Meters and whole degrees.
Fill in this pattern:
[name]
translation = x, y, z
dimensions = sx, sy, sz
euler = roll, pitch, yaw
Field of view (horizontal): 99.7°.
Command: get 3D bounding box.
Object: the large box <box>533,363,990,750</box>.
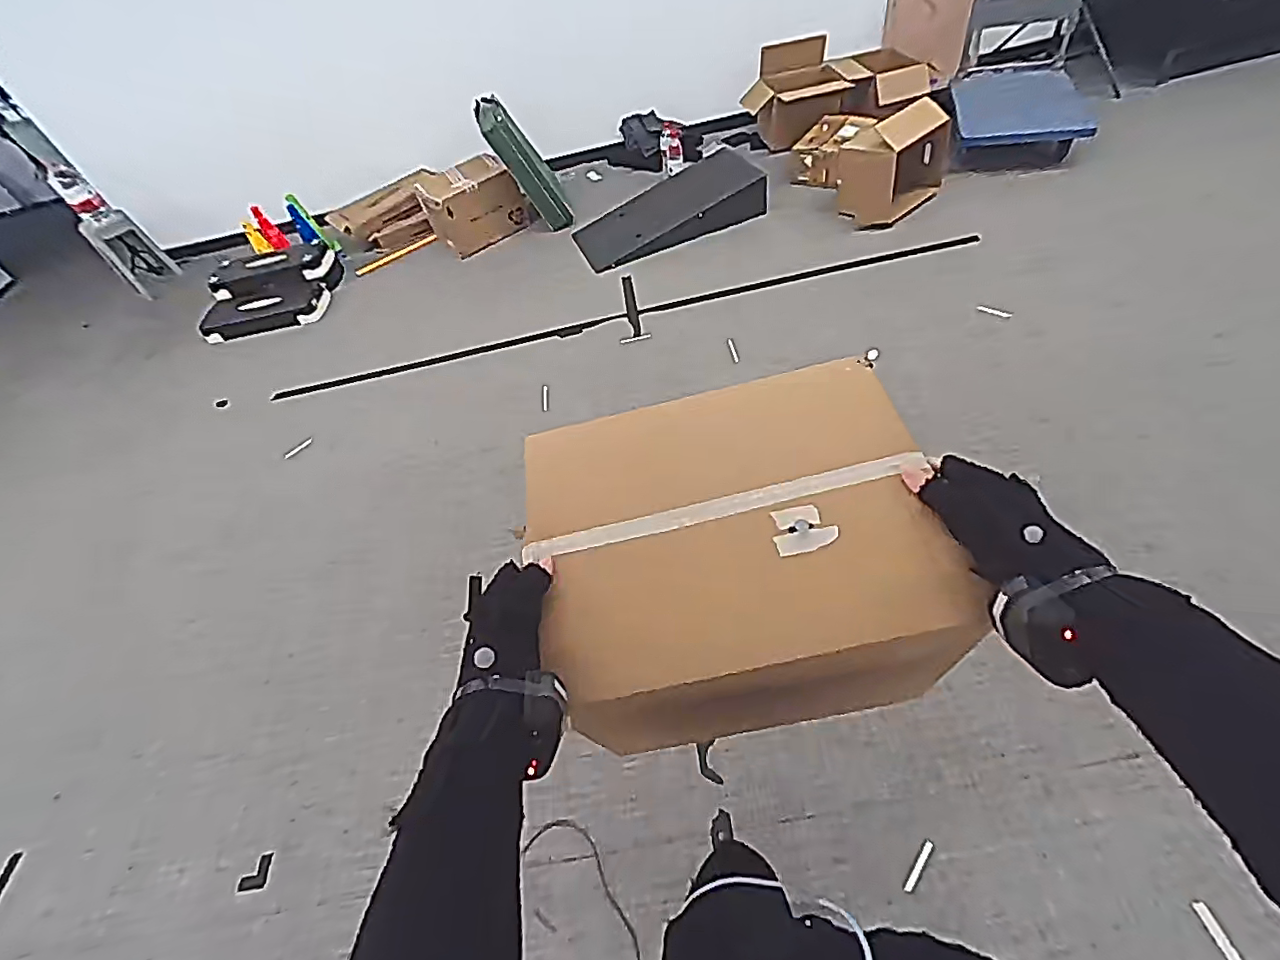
[large box]
translation = 0.112, 0.112, 0.679
dimensions = 0.408, 0.320, 0.320
euler = -13, 55, 3
